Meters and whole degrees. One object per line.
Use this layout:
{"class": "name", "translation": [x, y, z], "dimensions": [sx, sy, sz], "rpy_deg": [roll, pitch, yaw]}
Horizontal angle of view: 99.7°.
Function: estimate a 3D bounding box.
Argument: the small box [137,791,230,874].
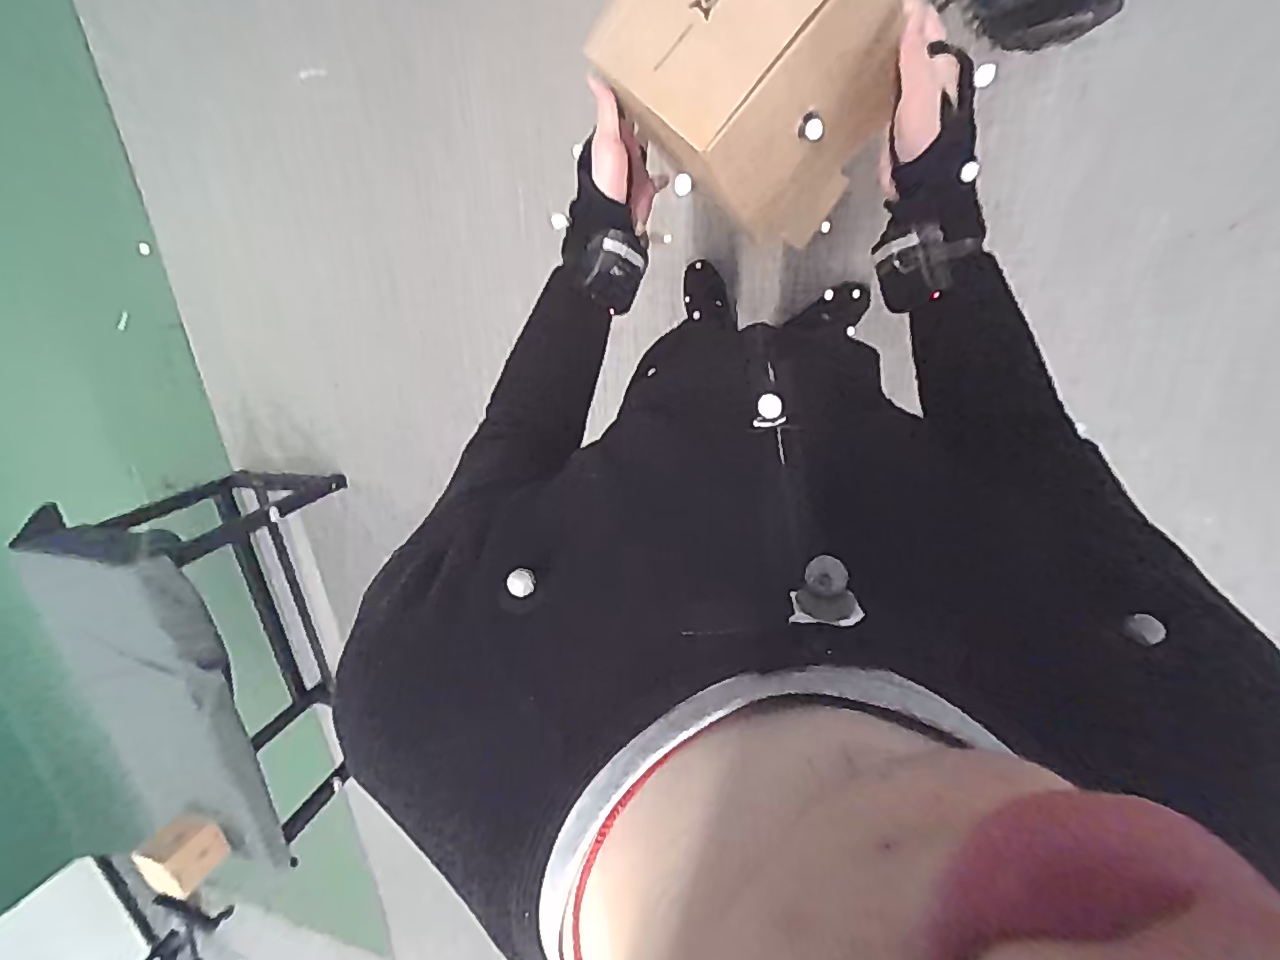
{"class": "small box", "translation": [-1.593, 1.235, 1.905], "dimensions": [0.179, 0.176, 0.168], "rpy_deg": [-1, 111, 19]}
